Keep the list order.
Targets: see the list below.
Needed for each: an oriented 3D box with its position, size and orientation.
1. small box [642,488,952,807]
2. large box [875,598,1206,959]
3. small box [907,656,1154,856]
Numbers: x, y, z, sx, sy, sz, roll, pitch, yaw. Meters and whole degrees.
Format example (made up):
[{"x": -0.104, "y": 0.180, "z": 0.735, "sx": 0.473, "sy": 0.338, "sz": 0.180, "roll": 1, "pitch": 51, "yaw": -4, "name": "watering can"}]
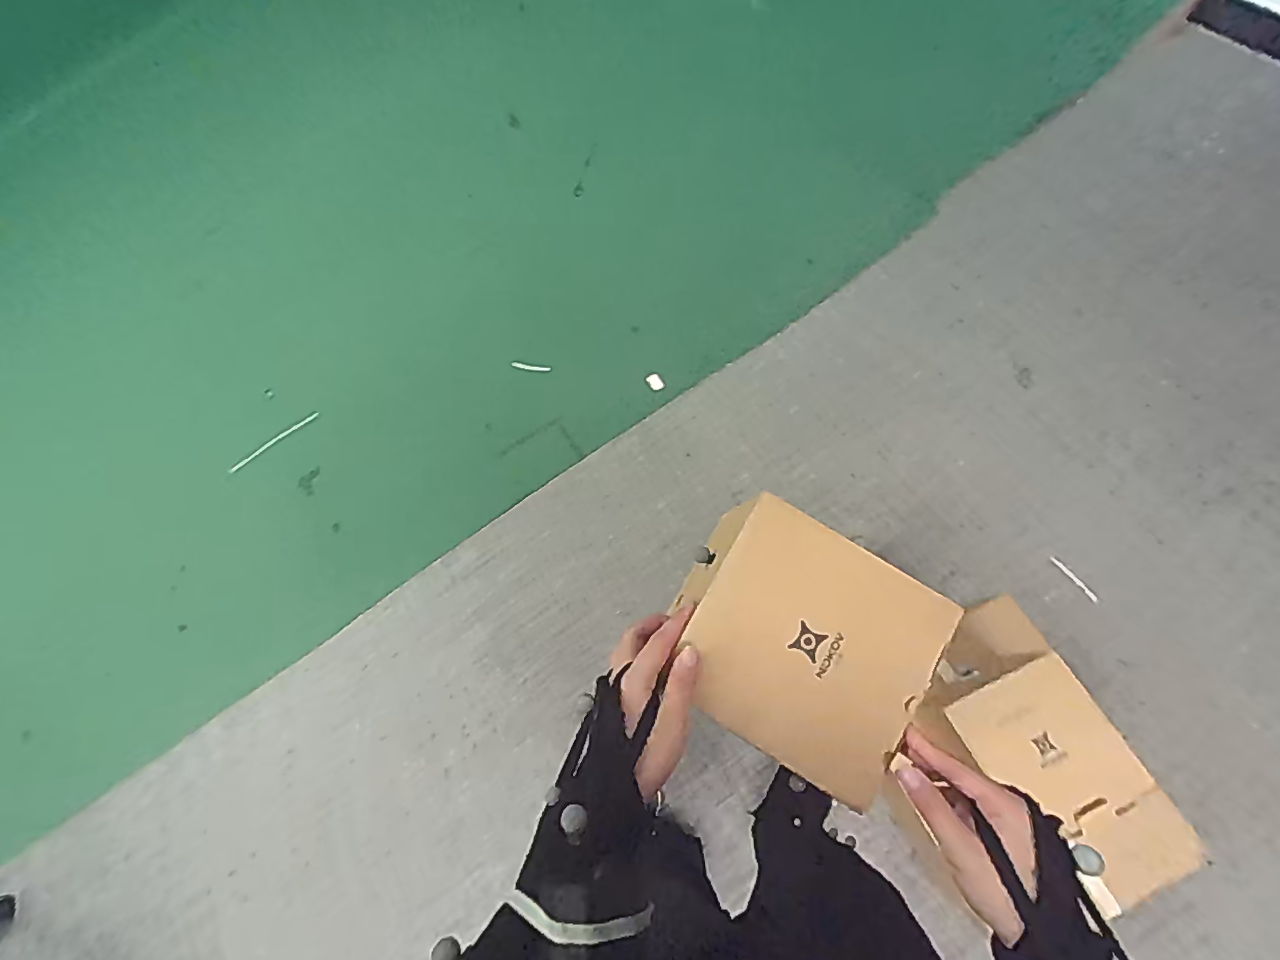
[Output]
[{"x": 0.113, "y": 0.131, "z": 0.468, "sx": 0.179, "sy": 0.176, "sz": 0.168, "roll": 30, "pitch": 80, "yaw": 2, "name": "small box"}, {"x": 0.567, "y": 0.468, "z": 0.936, "sx": 0.320, "sy": 0.320, "sz": 0.408, "roll": -29, "pitch": 69, "yaw": 1, "name": "large box"}, {"x": 0.500, "y": 0.355, "z": 0.727, "sx": 0.168, "sy": 0.176, "sz": 0.179, "roll": -27, "pitch": 67, "yaw": -1, "name": "small box"}]
